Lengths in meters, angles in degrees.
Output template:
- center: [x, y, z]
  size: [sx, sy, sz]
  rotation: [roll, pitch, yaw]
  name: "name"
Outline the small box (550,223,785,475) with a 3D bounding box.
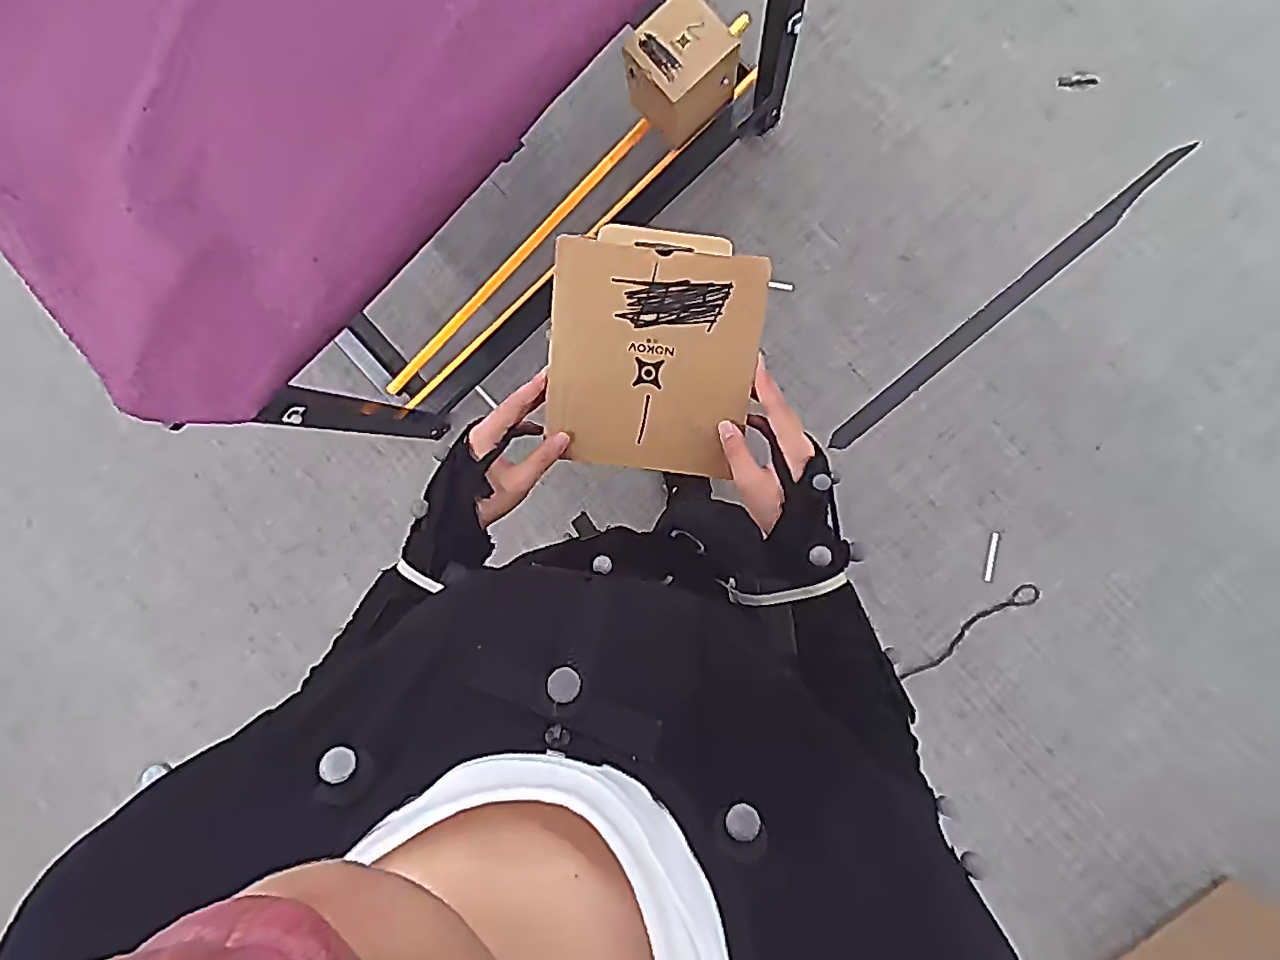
- center: [0.021, -0.113, 0.499]
  size: [0.168, 0.176, 0.179]
  rotation: [8, 101, 1]
  name: "small box"
